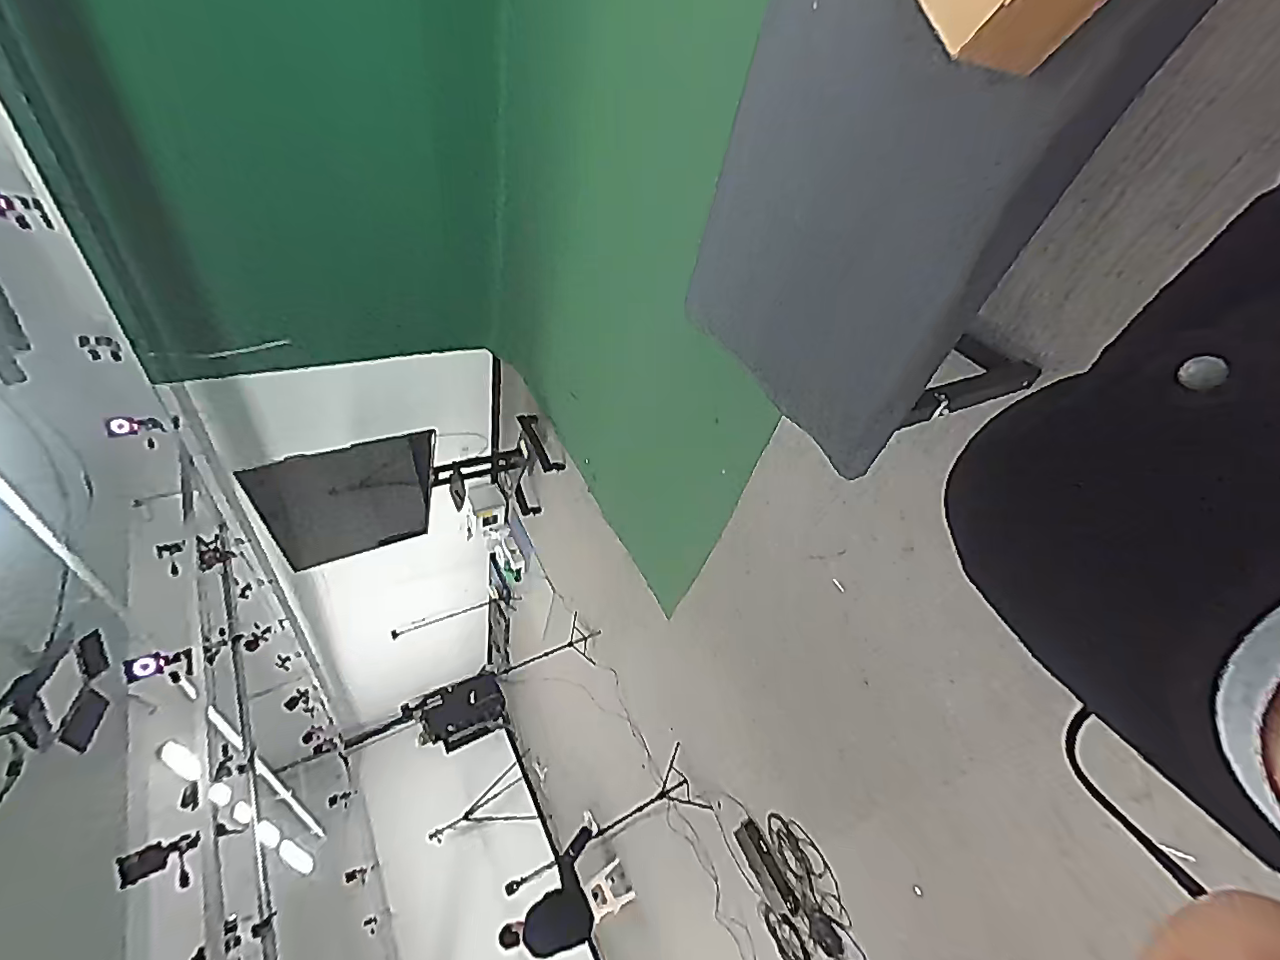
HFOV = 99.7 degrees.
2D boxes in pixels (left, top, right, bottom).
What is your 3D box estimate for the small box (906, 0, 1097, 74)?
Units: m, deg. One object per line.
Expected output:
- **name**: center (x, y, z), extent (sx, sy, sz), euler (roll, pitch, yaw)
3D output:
- **small box**: center (0.424, -0.601, 0.610), extent (0.168, 0.176, 0.179), euler (-40, 68, 58)
